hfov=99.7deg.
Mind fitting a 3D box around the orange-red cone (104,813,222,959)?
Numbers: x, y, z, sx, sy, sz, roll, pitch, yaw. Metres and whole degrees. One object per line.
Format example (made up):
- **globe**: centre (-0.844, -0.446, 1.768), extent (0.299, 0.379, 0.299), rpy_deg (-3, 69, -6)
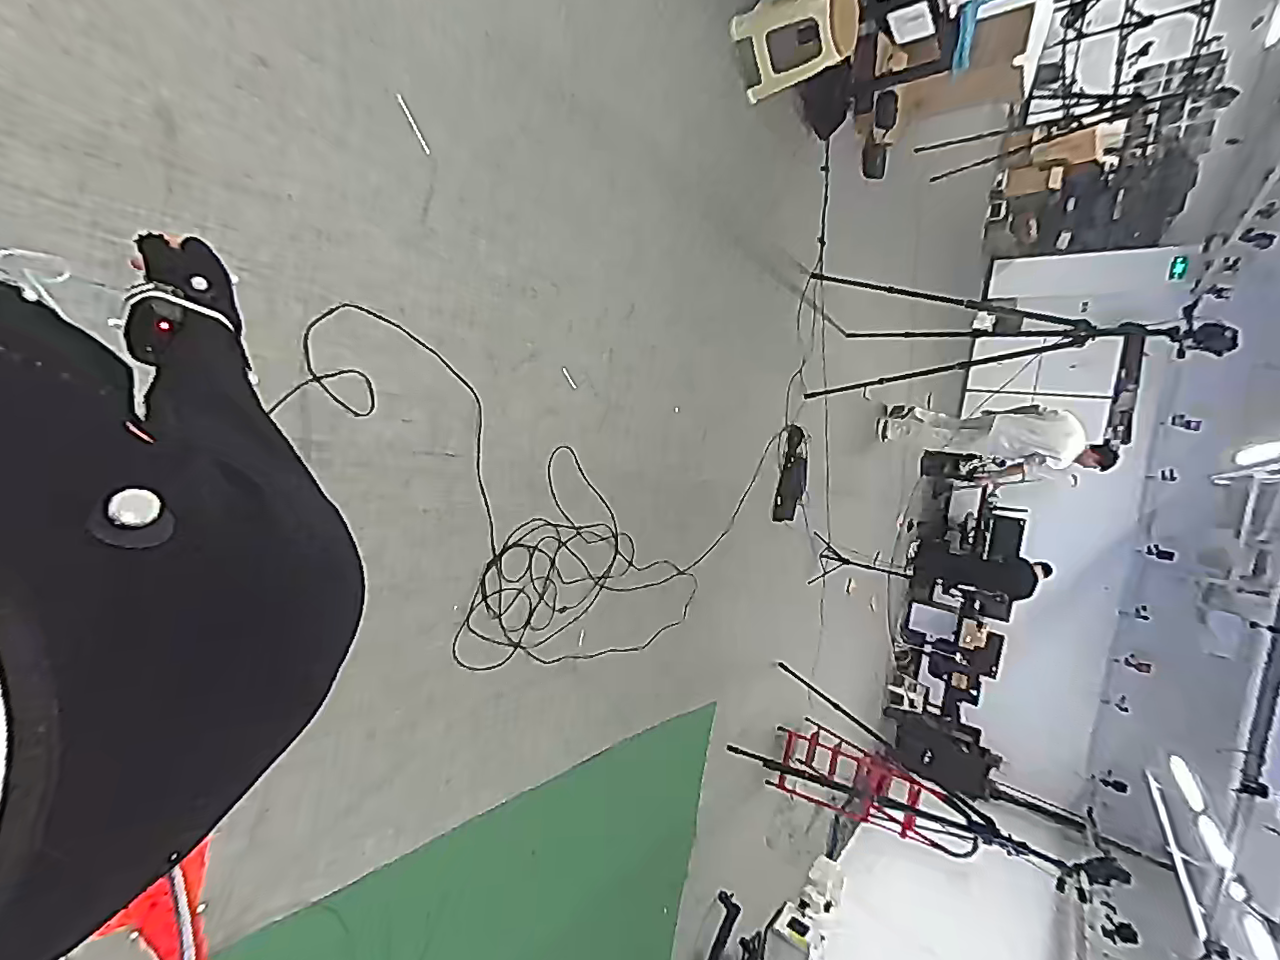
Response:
- **orange-red cone**: centre (-0.983, 0.935, 1.167), extent (0.198, 0.360, 0.199), rpy_deg (5, 94, -53)
